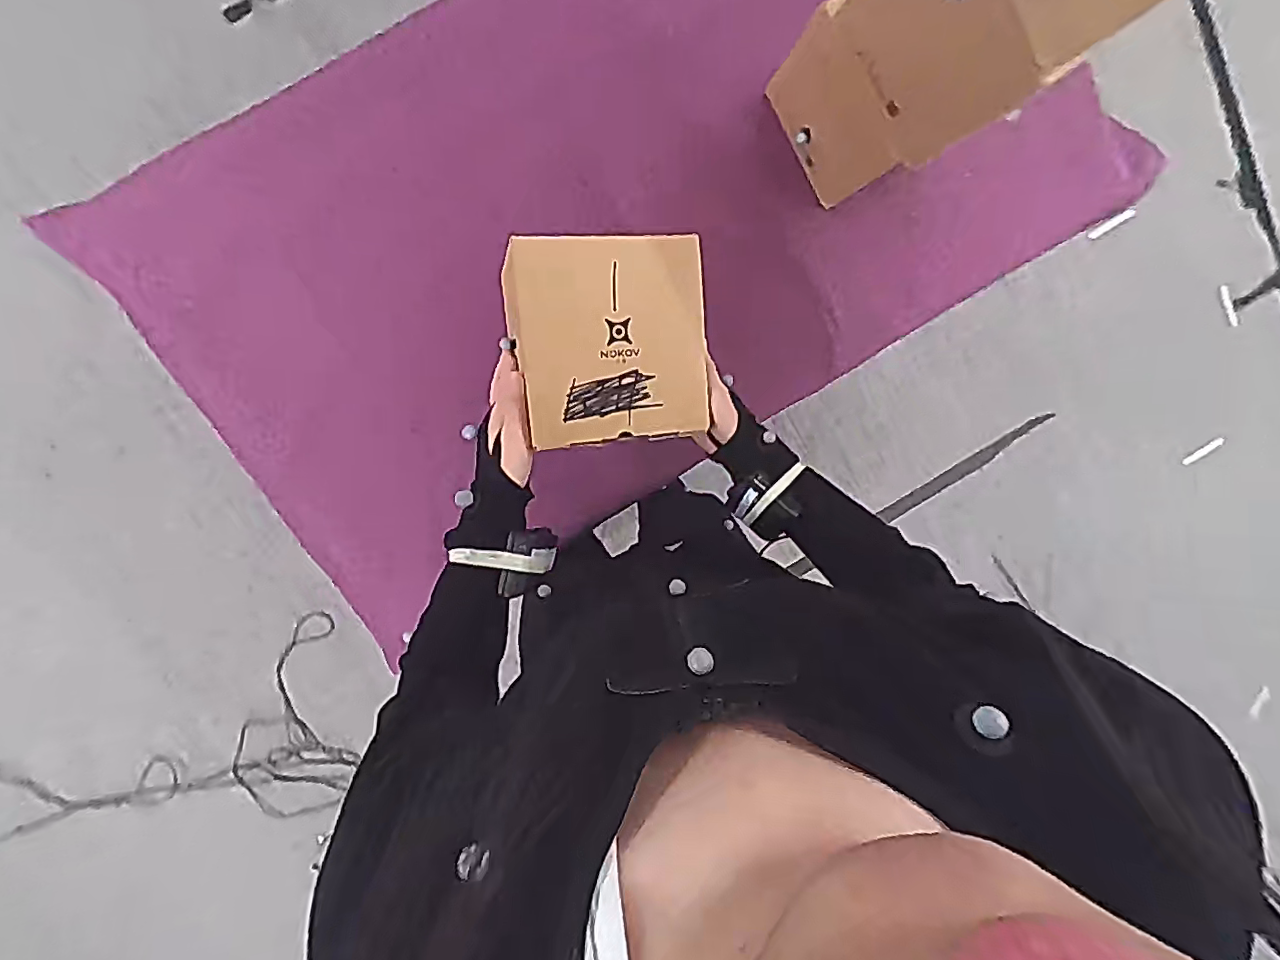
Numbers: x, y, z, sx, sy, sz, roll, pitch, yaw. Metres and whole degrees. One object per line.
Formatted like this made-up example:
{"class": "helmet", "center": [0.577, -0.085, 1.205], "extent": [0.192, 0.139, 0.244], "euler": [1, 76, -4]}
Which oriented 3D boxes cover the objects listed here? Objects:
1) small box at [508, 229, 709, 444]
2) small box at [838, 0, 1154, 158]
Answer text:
{"class": "small box", "center": [-0.039, -0.136, 0.544], "extent": [0.168, 0.176, 0.179], "euler": [-6, 100, -16]}
{"class": "small box", "center": [0.309, -0.424, 0.459], "extent": [0.179, 0.176, 0.168], "euler": [-37, 102, 0]}
